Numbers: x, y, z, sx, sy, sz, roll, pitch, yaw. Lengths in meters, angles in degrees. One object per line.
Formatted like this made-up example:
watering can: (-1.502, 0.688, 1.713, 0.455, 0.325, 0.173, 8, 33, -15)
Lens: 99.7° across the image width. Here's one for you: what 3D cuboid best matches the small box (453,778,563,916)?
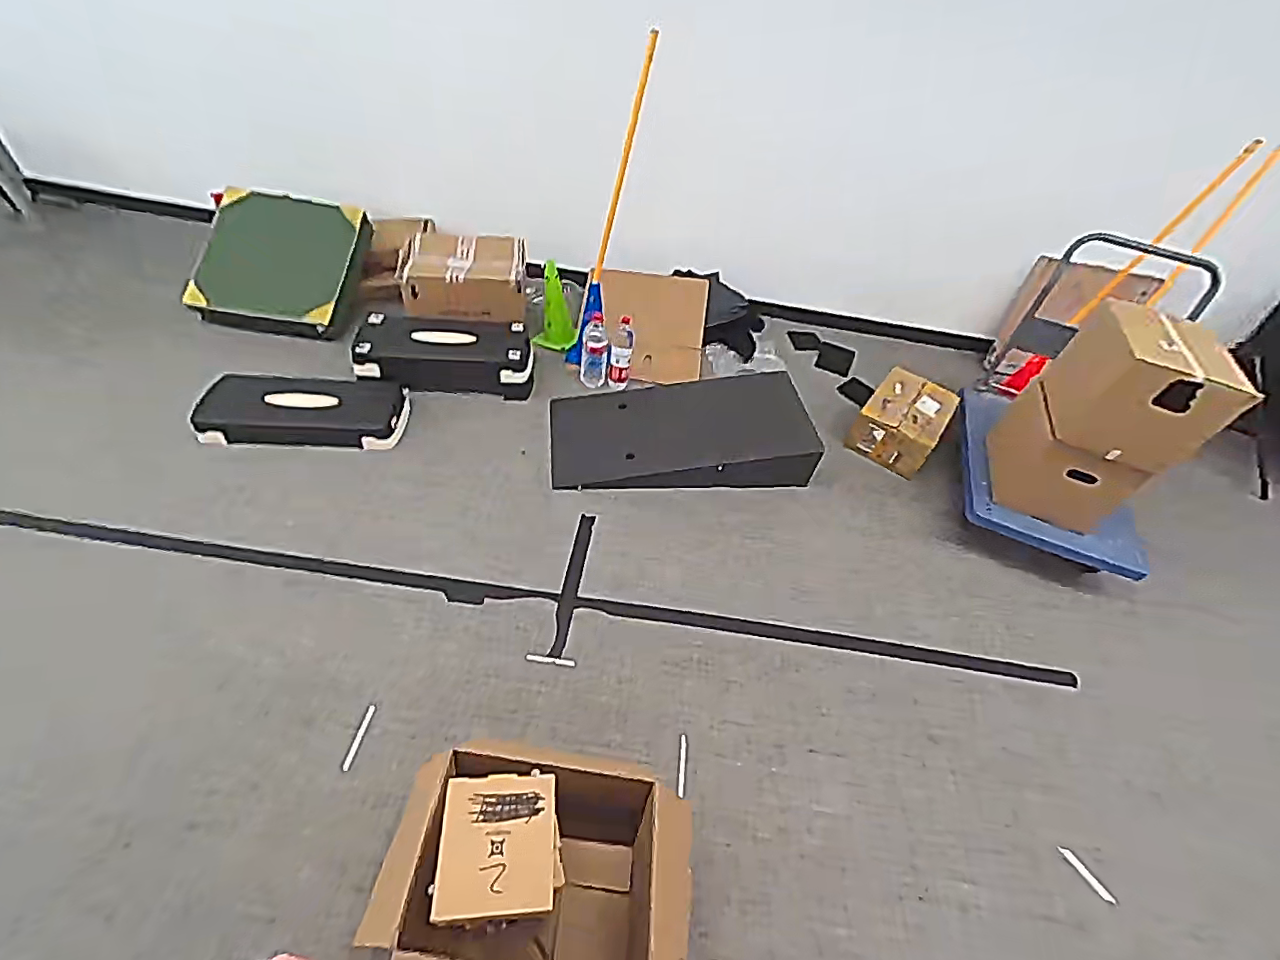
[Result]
small box: (-0.244, 0.675, 0.993, 0.179, 0.176, 0.168, -4, 50, -18)
